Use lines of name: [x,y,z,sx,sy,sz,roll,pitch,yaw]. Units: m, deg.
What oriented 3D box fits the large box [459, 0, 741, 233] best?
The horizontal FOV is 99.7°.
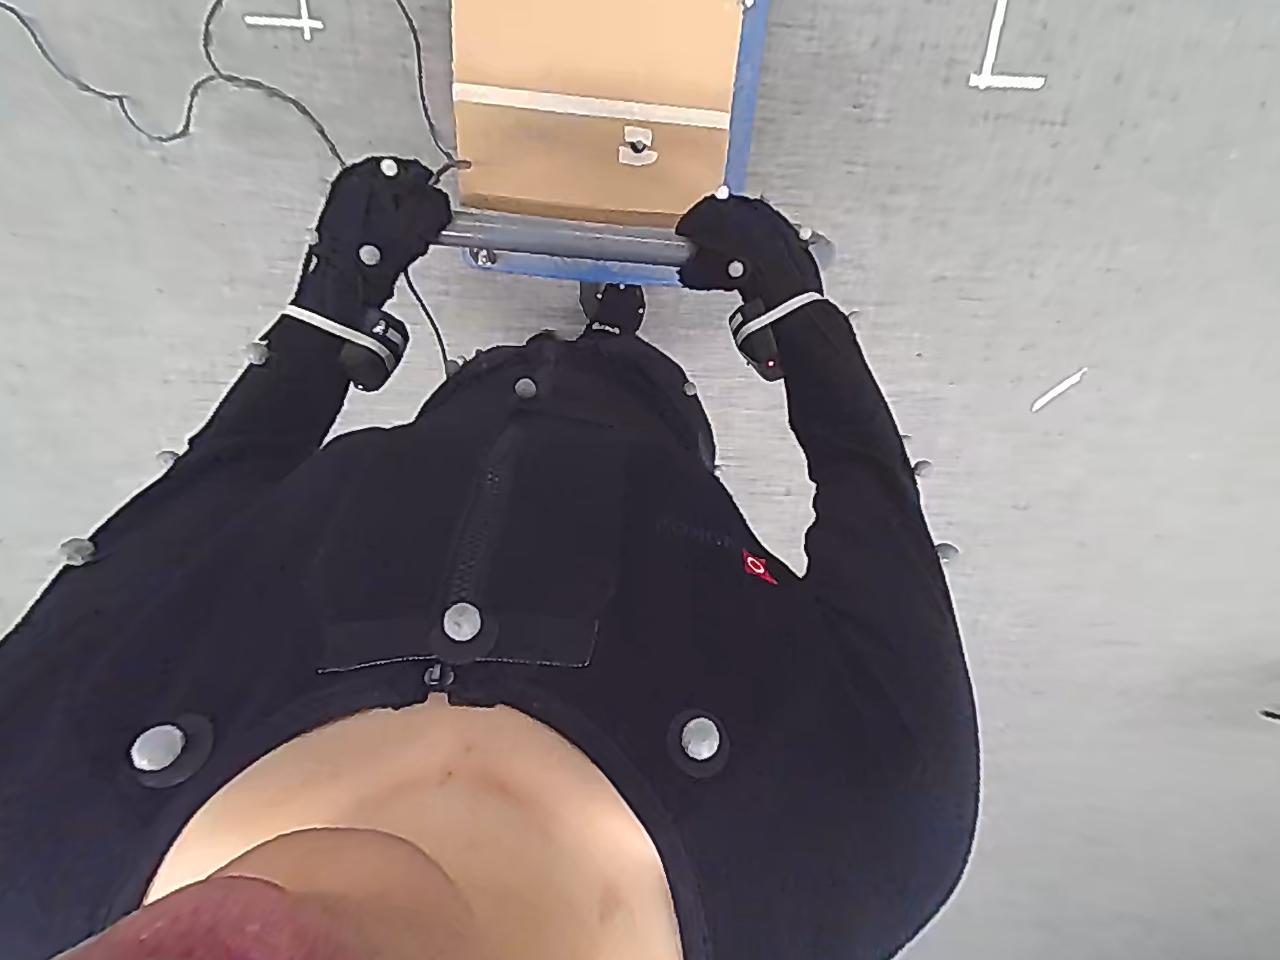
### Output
large box: [-0.074,-0.620,0.944,0.408,0.320,0.320,2,113,-6]
